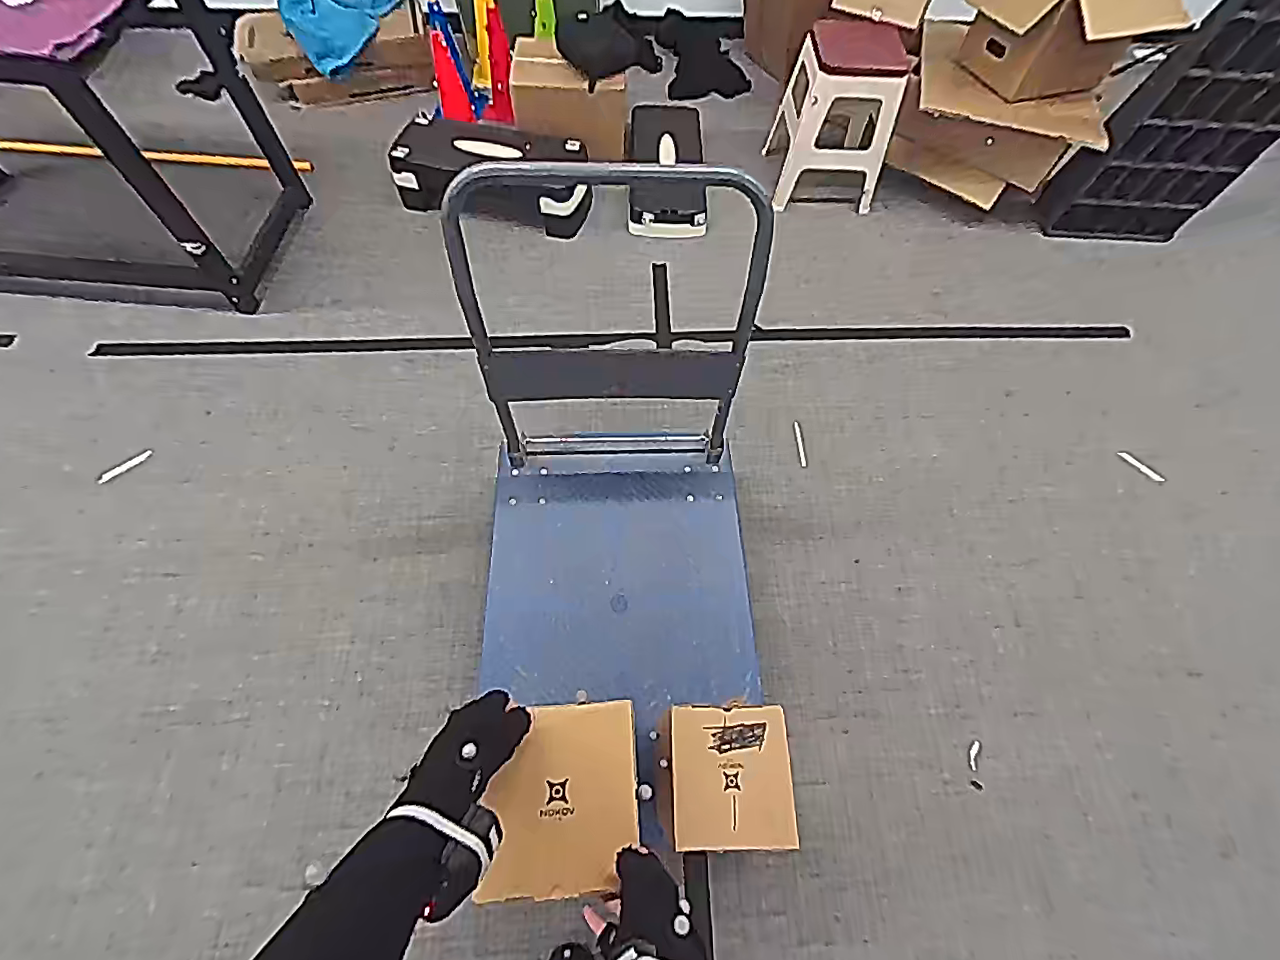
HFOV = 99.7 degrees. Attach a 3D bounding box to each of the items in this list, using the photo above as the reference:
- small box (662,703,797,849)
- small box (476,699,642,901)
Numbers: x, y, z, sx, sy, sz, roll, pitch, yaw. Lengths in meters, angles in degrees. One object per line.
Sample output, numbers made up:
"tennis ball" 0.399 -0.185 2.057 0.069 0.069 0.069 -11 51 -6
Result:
"small box" 0.122 0.440 0.813 0.168 0.176 0.179 2 63 -2
"small box" -0.087 0.355 0.635 0.168 0.176 0.179 -3 70 -3
